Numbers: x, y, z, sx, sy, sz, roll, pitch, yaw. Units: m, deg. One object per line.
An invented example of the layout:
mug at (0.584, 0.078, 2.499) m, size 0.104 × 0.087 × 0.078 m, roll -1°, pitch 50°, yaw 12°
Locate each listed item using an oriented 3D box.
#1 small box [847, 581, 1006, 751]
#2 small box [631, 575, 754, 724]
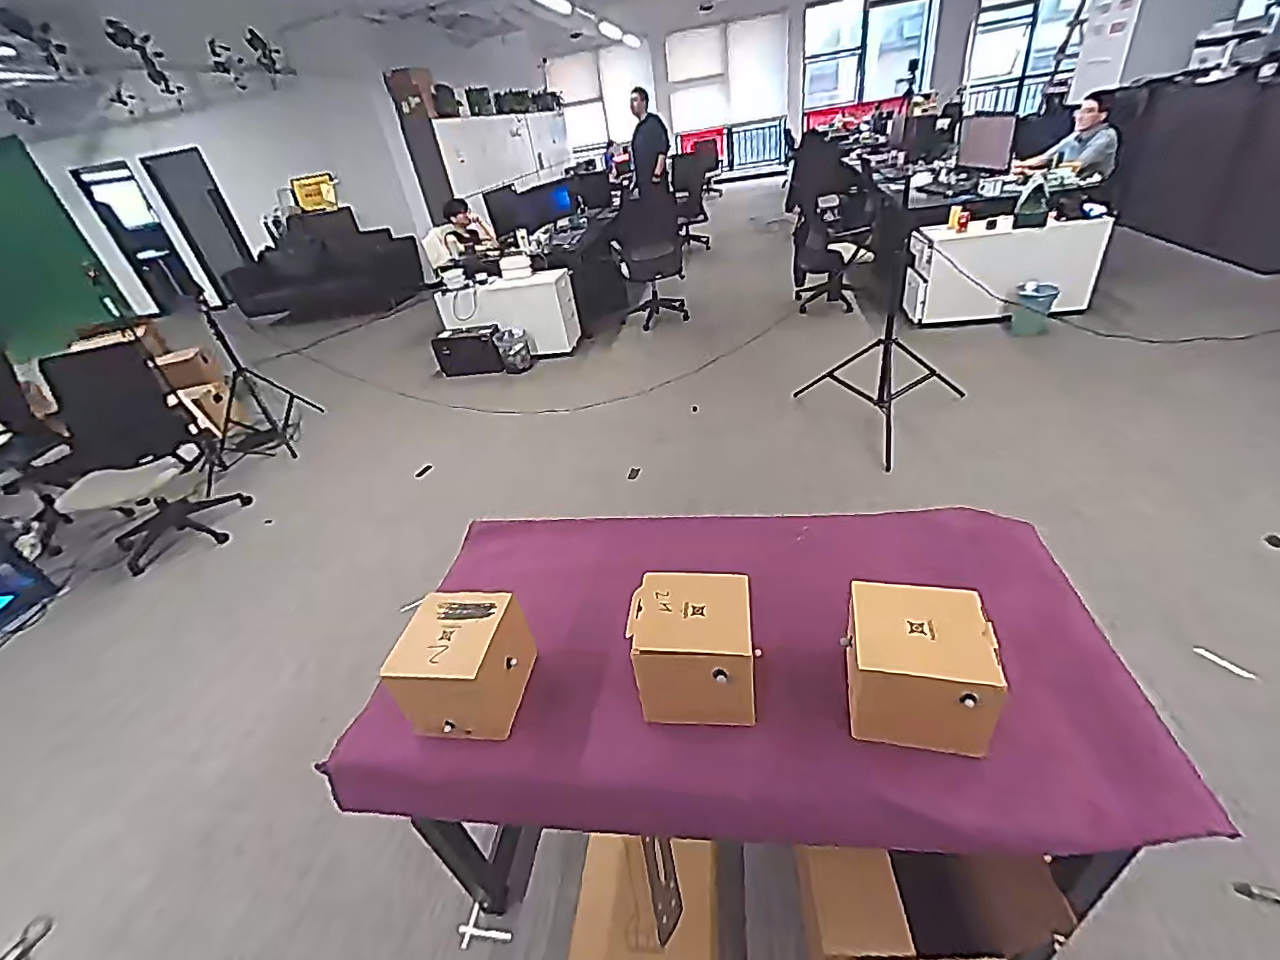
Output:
small box at (0.402, 0.270, 0.796) m, size 0.179 × 0.176 × 0.168 m, roll 1°, pitch 35°, yaw 16°
small box at (0.093, 0.272, 0.874) m, size 0.179 × 0.176 × 0.168 m, roll -3°, pitch 32°, yaw 11°
